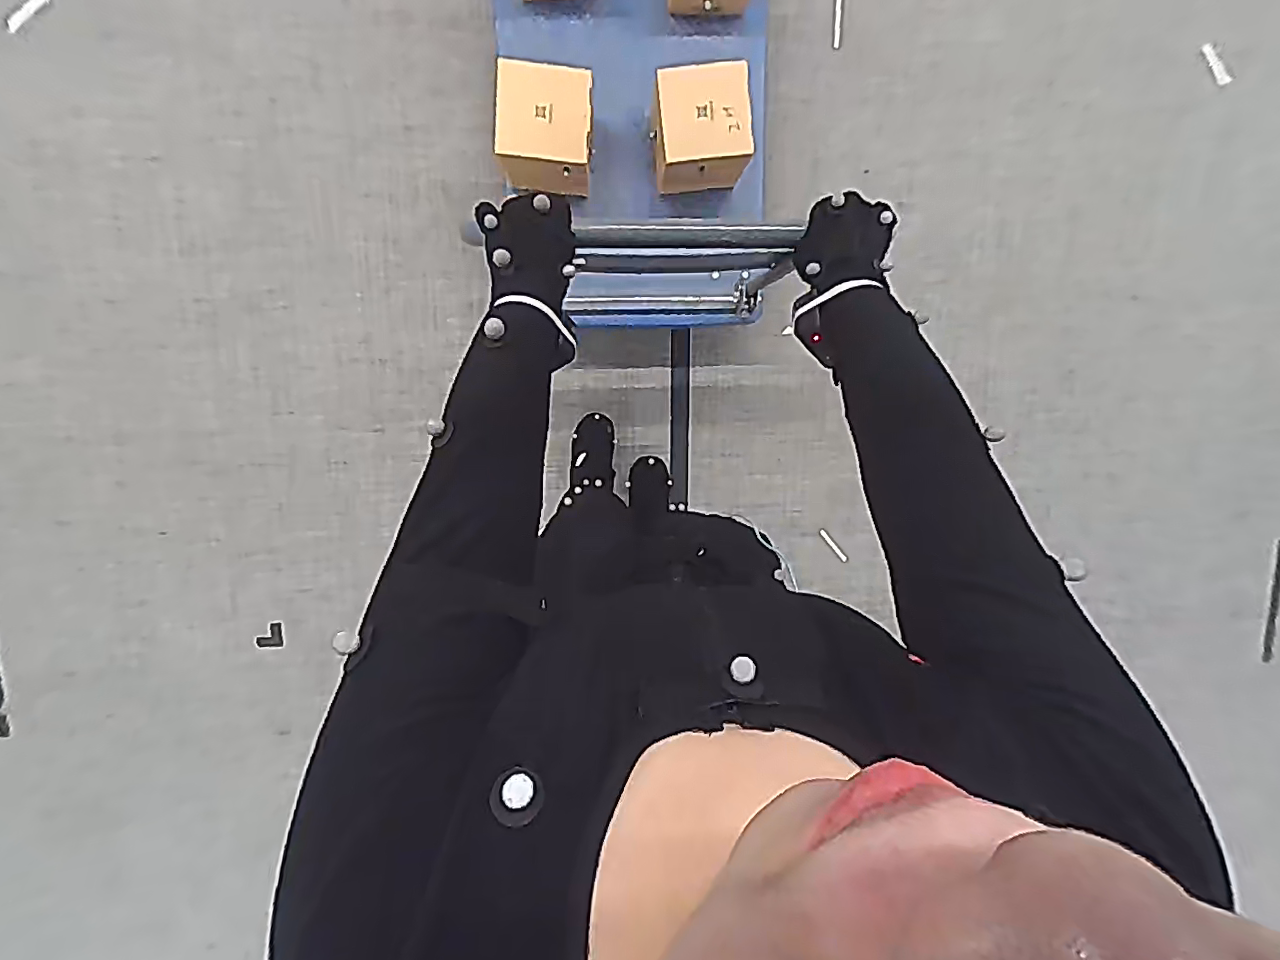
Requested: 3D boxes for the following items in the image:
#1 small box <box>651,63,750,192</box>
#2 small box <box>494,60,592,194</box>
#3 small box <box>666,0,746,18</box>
[{"bbox_3d":[0.116,-0.713,1.111,0.179,0.176,0.168,-7,100,-2],"label":"small box"},{"bbox_3d":[-0.190,-0.700,1.093,0.179,0.176,0.168,3,98,-6],"label":"small box"},{"bbox_3d":[0.140,-1.060,1.058,0.168,0.176,0.179,-2,100,-3],"label":"small box"}]
